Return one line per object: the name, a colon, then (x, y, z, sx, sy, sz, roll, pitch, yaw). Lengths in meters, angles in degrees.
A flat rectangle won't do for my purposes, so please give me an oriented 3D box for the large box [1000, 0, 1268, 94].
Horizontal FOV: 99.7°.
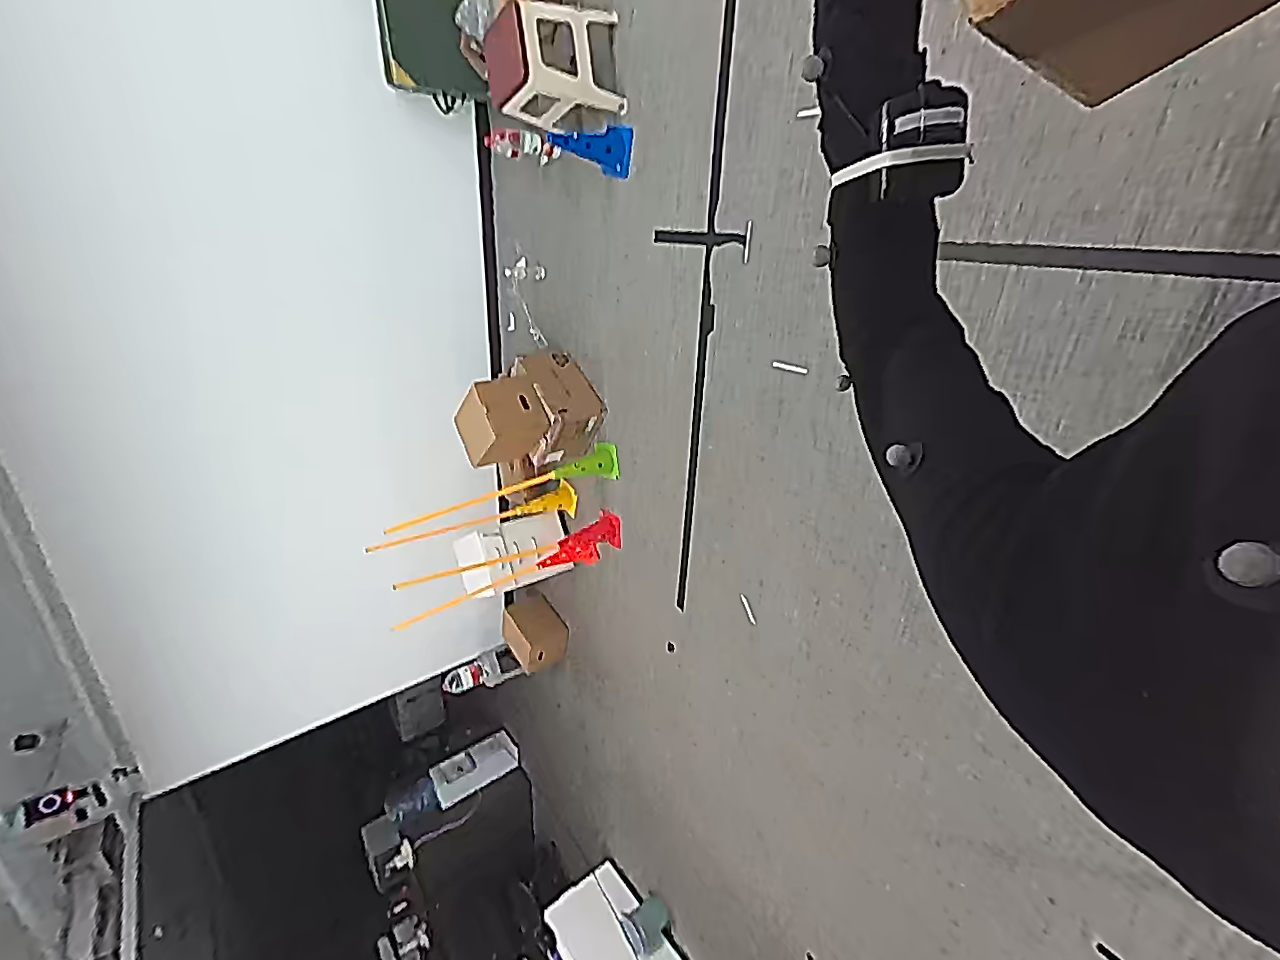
large box: (0.396, -0.507, 0.269, 0.408, 0.320, 0.320, -17, 92, 52)
